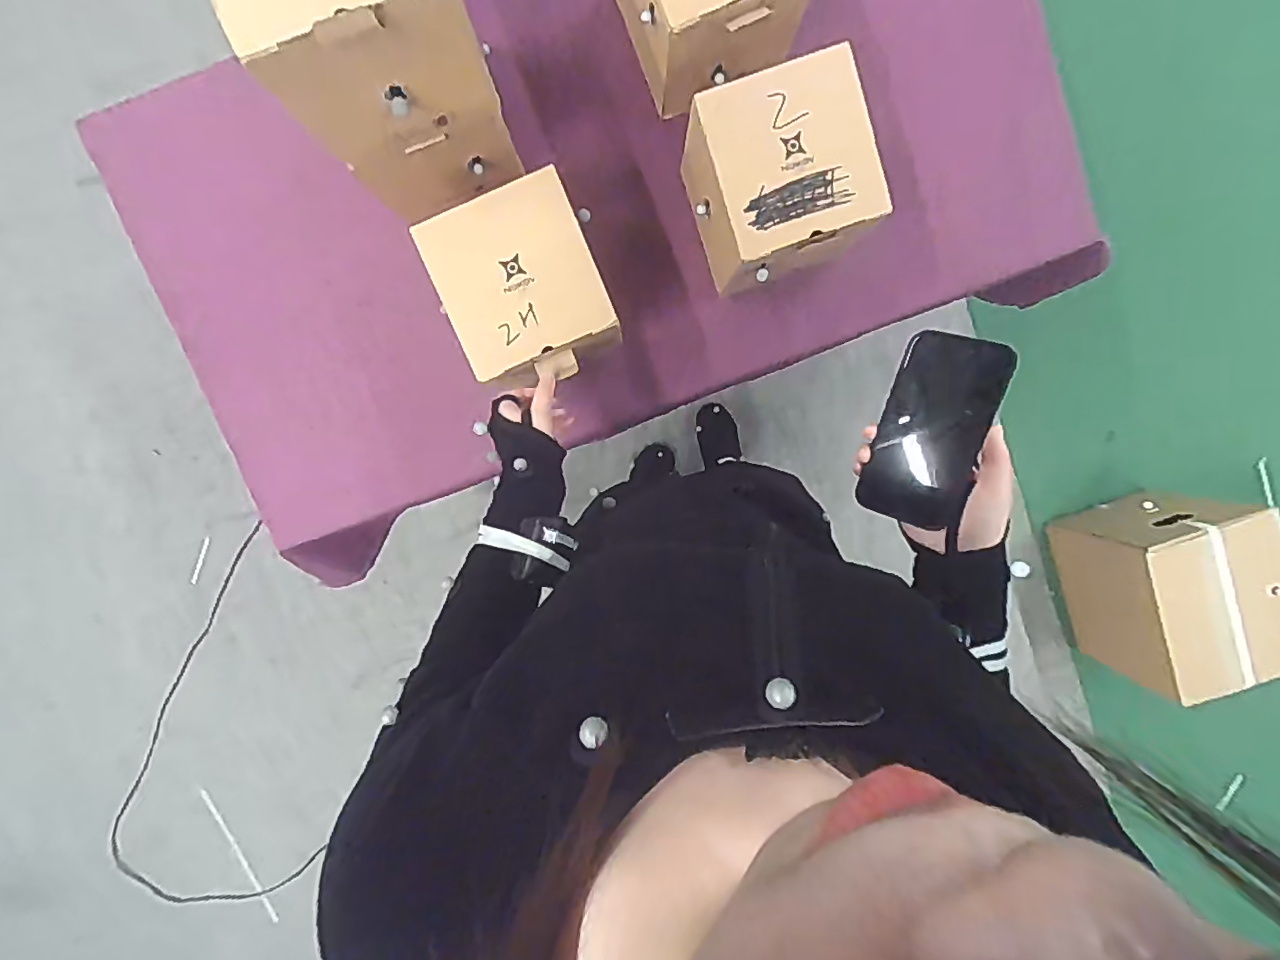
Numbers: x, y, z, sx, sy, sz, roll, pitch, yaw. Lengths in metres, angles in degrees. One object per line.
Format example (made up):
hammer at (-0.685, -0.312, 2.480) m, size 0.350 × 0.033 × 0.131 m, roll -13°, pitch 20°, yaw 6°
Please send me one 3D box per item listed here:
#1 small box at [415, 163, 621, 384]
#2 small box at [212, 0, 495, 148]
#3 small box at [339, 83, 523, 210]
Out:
small box at (-0.129, -0.226, 0.645) m, size 0.168 × 0.176 × 0.179 m, roll -23°, pitch 96°, yaw 3°
small box at (-0.242, -0.416, 0.455) m, size 0.168 × 0.176 × 0.179 m, roll -20°, pitch 98°, yaw 1°
small box at (-0.250, -0.437, 0.618) m, size 0.168 × 0.176 × 0.179 m, roll -21°, pitch 97°, yaw 1°
